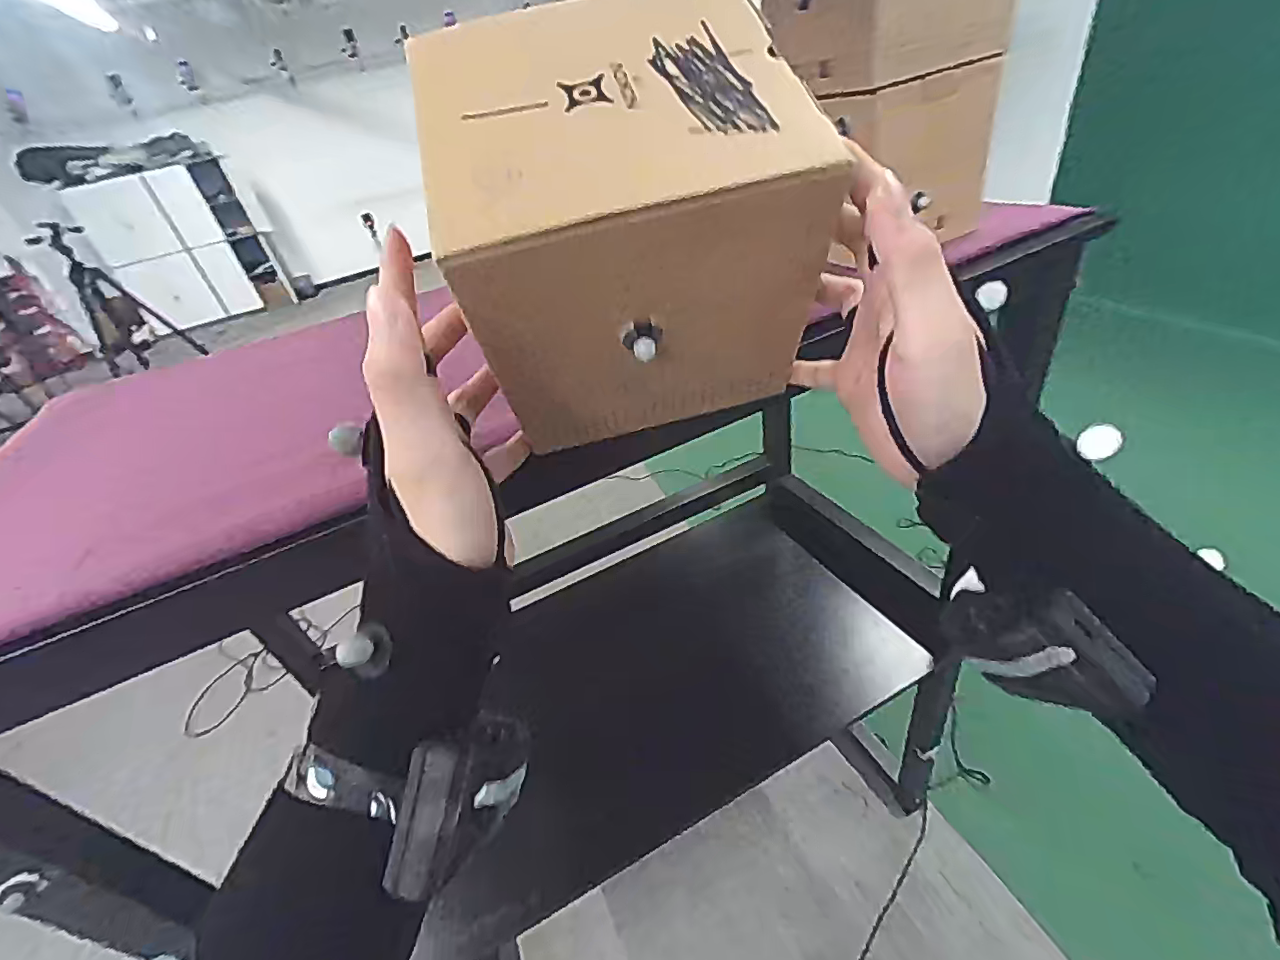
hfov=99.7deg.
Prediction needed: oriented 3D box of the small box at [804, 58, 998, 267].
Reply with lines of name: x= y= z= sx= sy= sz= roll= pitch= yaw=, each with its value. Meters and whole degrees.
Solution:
small box: x=0.262 y=-0.361 z=0.627 sx=0.168 sy=0.176 sz=0.179 roll=-24 pitch=38 yaw=-13

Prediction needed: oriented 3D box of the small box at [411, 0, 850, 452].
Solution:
small box: x=-0.010 y=-0.138 z=0.320 sx=0.179 sy=0.176 sz=0.168 roll=-14 pitch=65 yaw=-2

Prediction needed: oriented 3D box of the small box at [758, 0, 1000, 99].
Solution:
small box: x=0.228 y=-0.485 z=0.523 sx=0.179 sy=0.176 sz=0.168 roll=-24 pitch=38 yaw=-13
